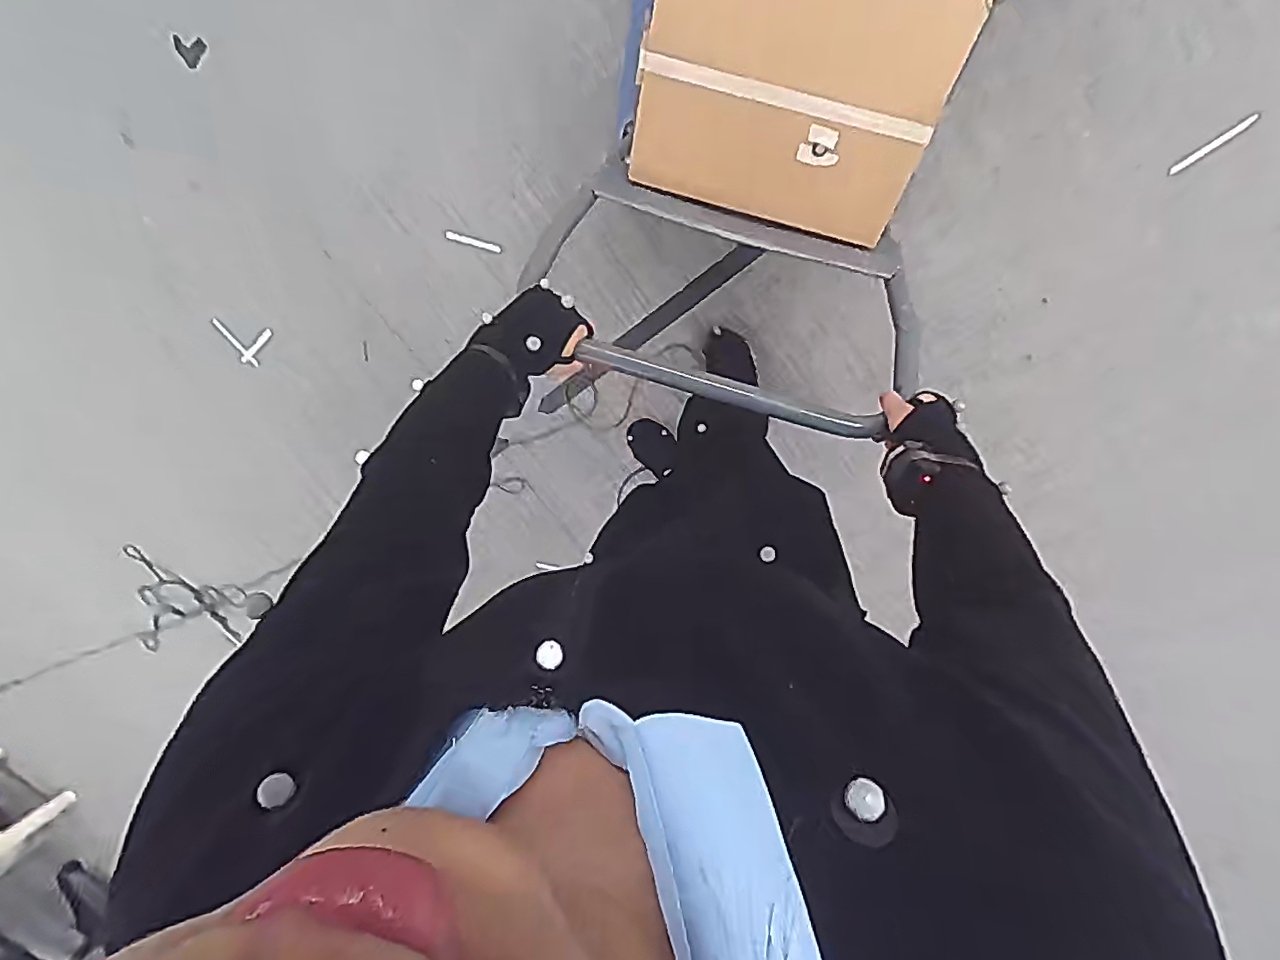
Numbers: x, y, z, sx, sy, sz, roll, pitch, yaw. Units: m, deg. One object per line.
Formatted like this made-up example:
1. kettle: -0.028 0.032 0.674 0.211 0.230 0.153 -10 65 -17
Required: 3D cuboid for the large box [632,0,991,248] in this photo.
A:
1. large box: 0.231 -0.620 0.860 0.408 0.320 0.320 16 134 0
